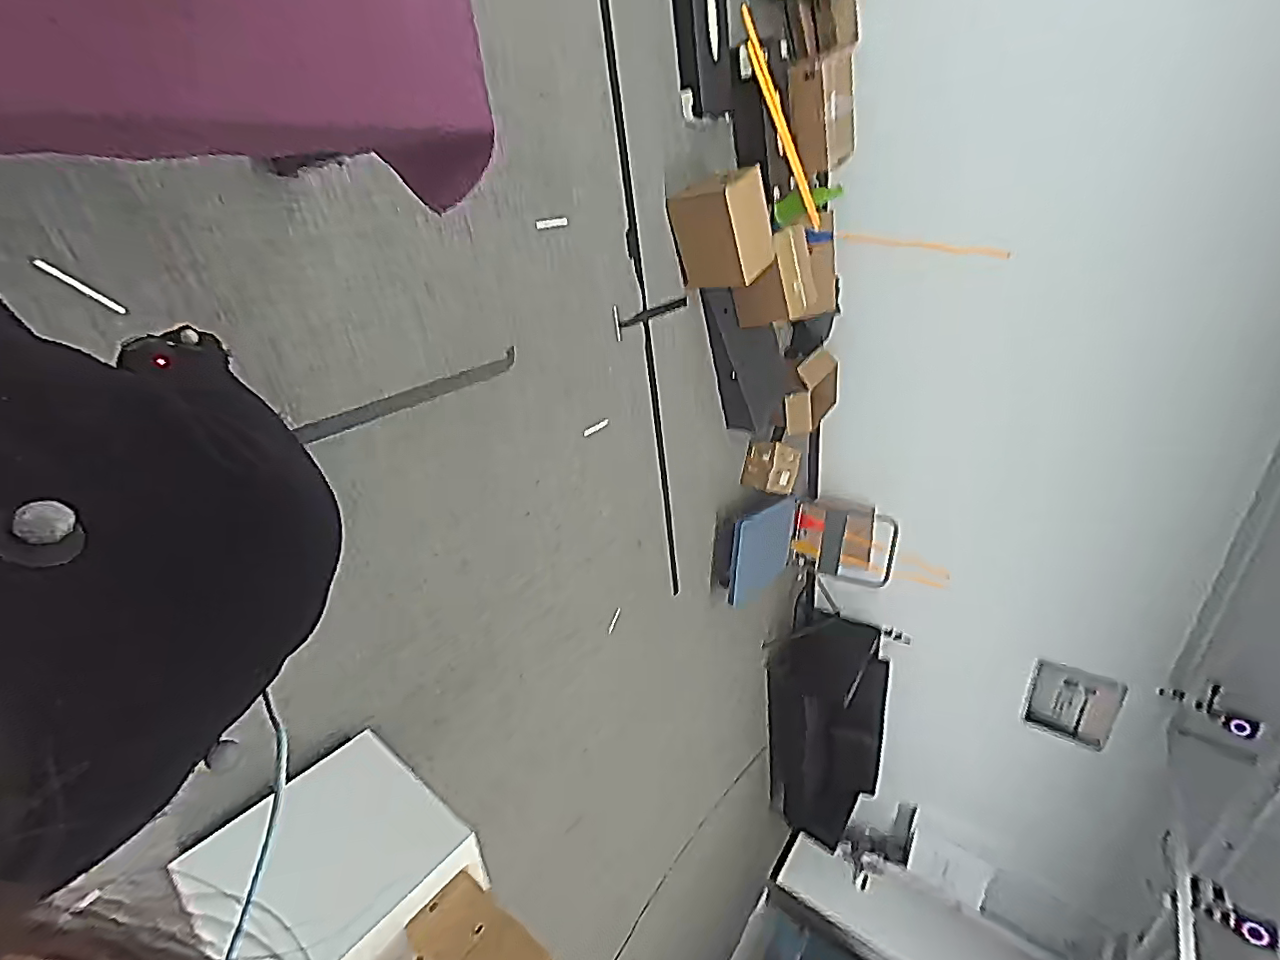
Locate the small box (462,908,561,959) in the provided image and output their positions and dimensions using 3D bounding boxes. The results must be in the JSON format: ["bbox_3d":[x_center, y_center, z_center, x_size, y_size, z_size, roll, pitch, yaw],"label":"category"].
[{"bbox_3d":[-0.290,1.119,1.202,0.179,0.176,0.168,-29,123,-45],"label":"small box"}]

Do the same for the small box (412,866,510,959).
[{"bbox_3d":[-0.420,1.089,1.300,0.168,0.176,0.179,-28,125,-45],"label":"small box"}]
